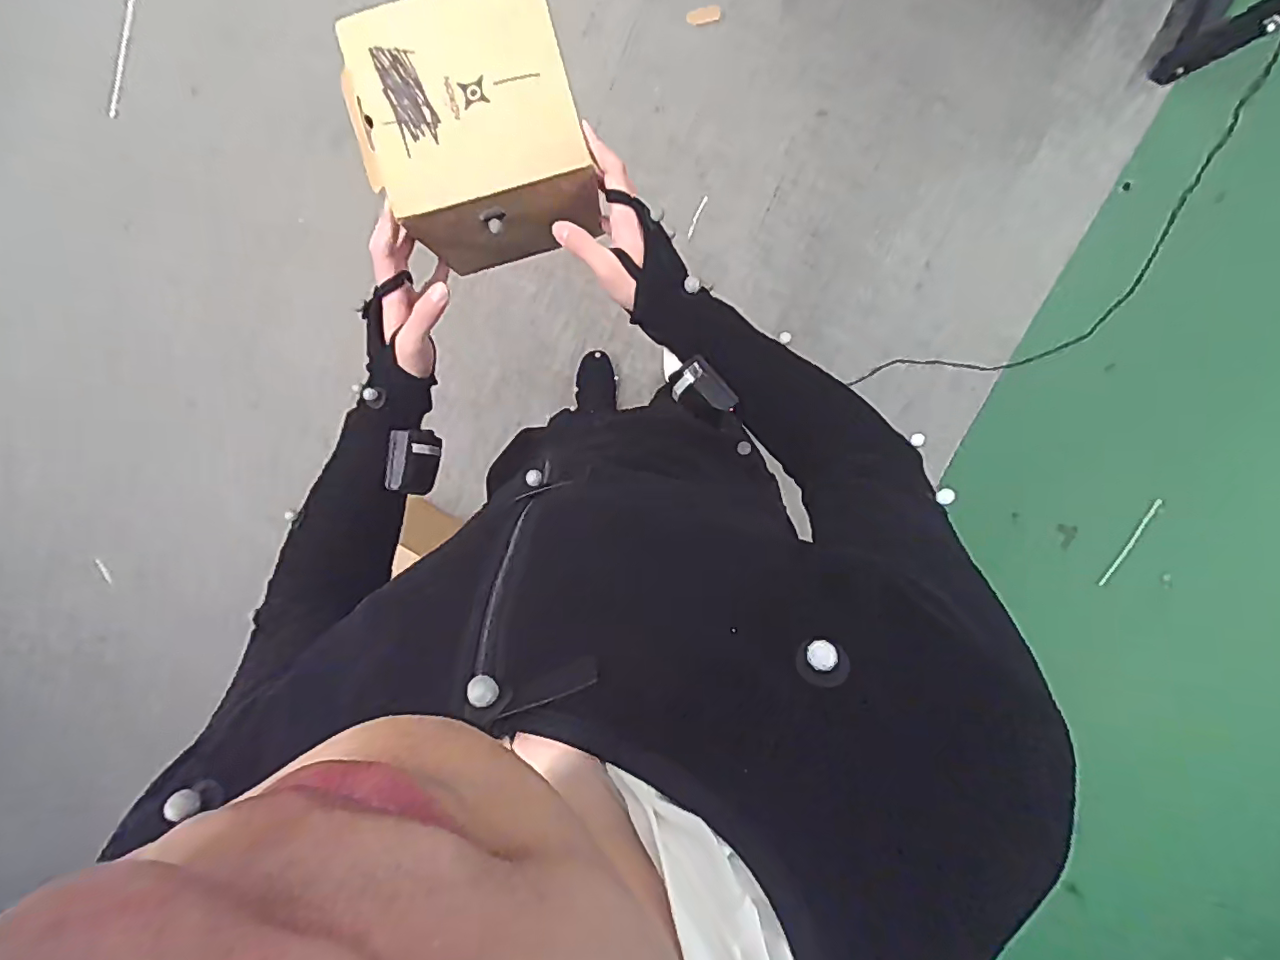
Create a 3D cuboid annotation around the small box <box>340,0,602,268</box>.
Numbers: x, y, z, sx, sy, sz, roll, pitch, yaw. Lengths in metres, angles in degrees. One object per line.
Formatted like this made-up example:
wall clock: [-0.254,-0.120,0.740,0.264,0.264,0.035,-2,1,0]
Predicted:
small box: [-0.144,-0.327,0.526,0.179,0.176,0.168,-15,96,0]
